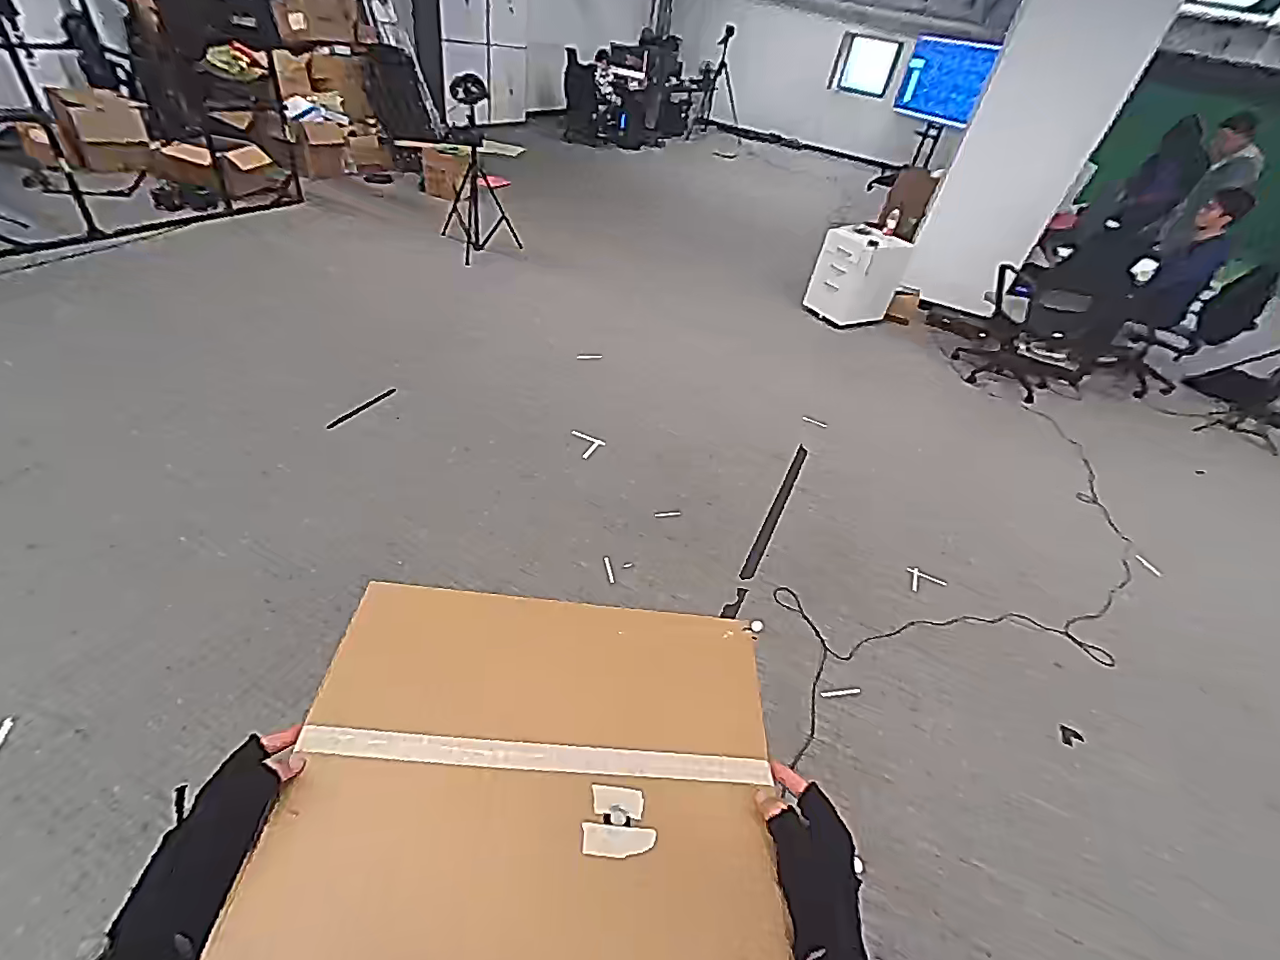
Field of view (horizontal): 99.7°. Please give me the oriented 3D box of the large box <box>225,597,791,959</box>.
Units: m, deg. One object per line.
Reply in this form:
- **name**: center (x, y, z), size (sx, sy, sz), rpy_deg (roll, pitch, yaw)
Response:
- **large box**: center (-0.104, 0.356, 0.576), size (0.408, 0.320, 0.320), rpy_deg (8, 45, -5)
